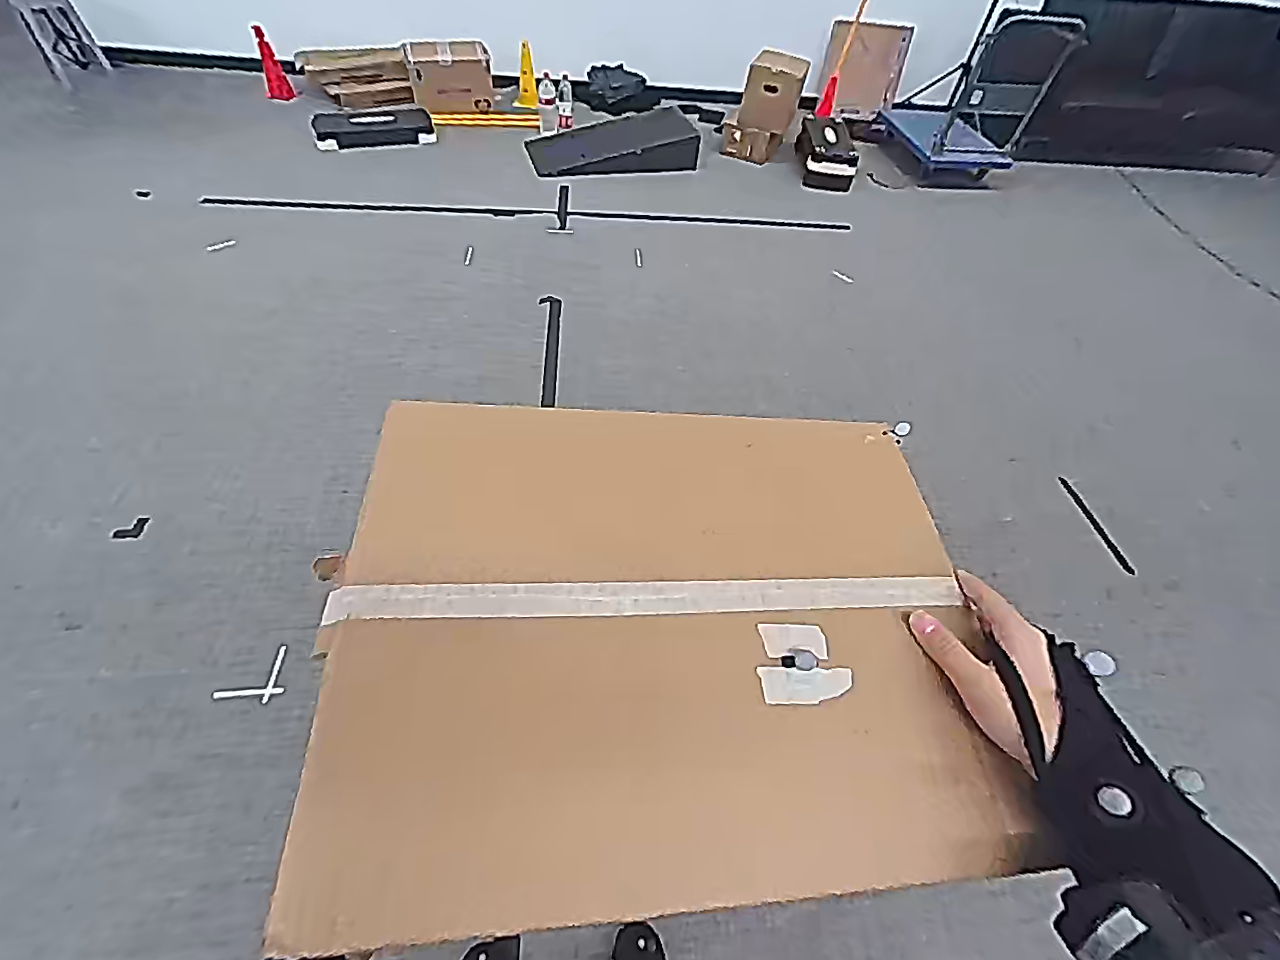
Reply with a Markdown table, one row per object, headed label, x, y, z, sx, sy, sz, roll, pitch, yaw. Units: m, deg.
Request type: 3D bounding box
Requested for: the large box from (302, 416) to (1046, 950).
| label | x | y | z | sx | sy | sz | roll | pitch | yaw |
| --- | --- | --- | --- | --- | --- | --- | --- | --- | --- |
| large box | 0.003 | 0.166 | 0.476 | 0.408 | 0.320 | 0.320 | 2 | 56 | -11 |
